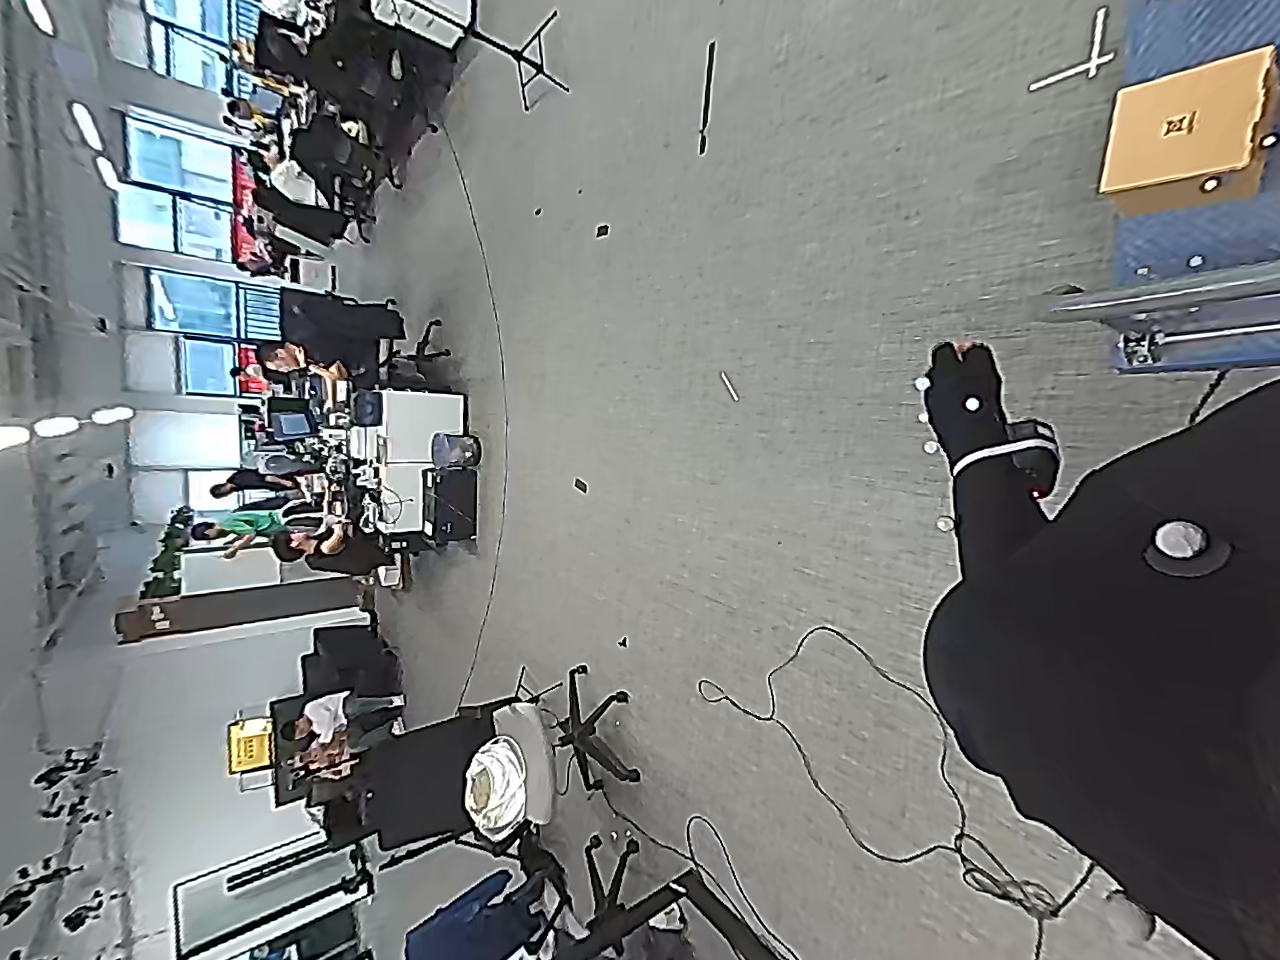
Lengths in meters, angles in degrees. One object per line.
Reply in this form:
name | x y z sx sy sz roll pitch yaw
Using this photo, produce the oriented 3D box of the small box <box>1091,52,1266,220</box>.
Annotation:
small box | 0.904 -0.558 0.910 0.179 0.176 0.168 14 102 49
